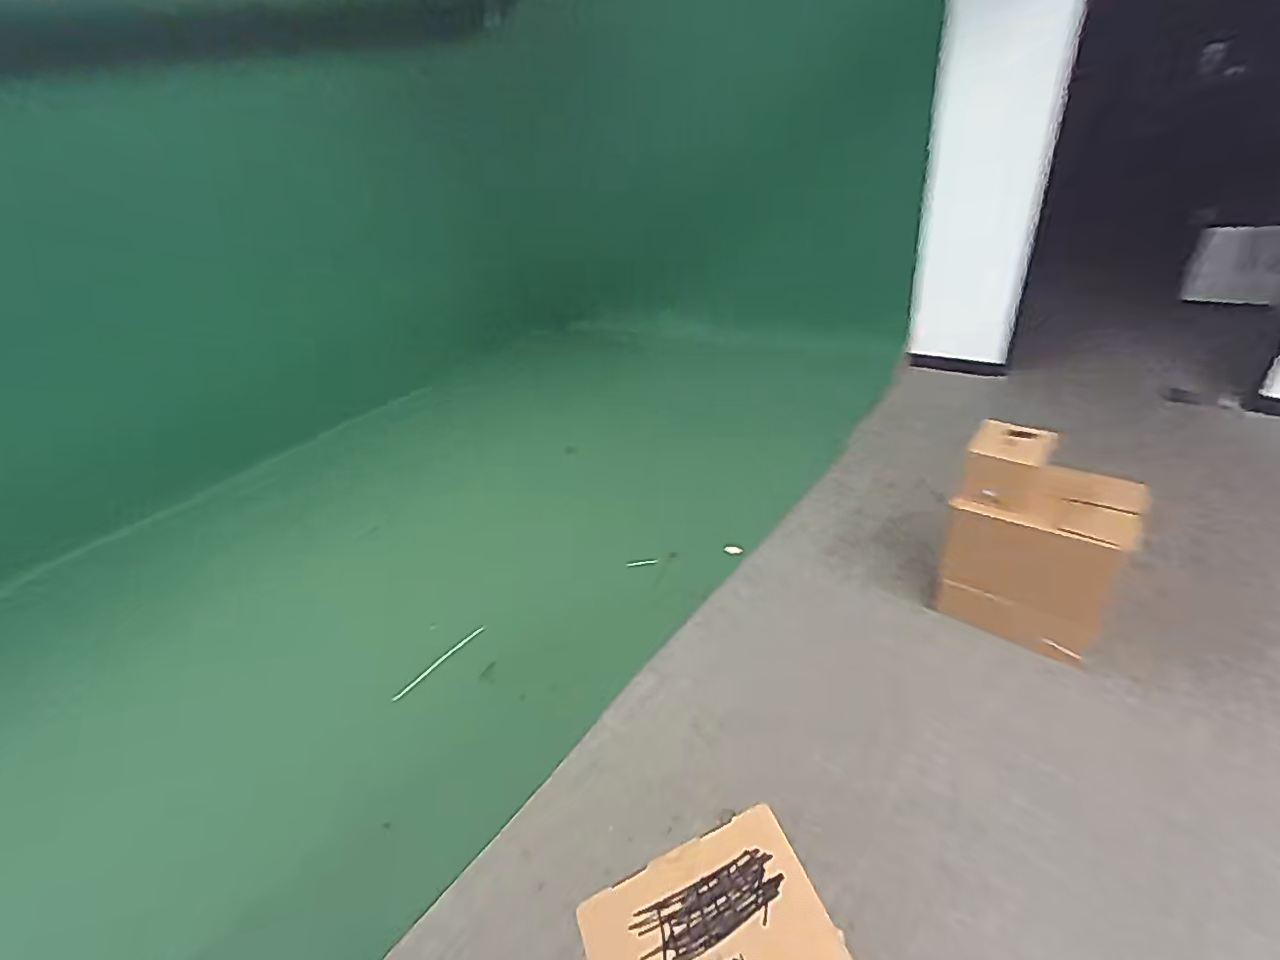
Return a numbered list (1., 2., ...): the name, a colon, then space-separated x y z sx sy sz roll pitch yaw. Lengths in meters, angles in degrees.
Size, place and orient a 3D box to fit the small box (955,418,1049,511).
1. small box: 1.008 -0.046 1.517 0.168 0.176 0.179 22 50 37
